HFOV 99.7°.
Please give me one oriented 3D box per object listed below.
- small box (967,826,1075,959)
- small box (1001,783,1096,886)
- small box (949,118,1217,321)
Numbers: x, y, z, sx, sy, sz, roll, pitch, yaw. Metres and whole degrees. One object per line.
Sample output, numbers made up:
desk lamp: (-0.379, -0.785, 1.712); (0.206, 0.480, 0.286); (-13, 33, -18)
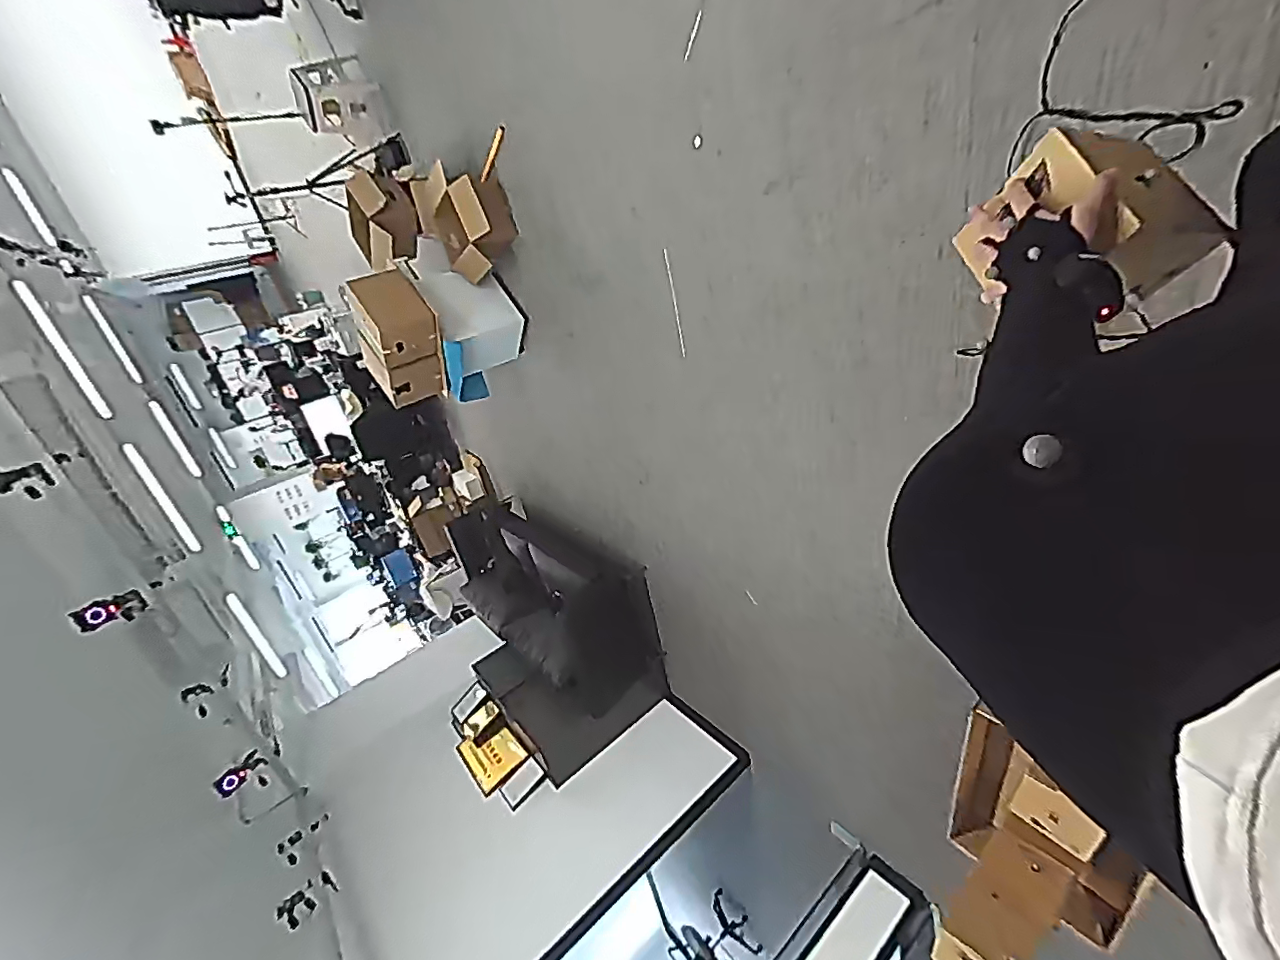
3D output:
small box: (0.950, 1.025, 1.351); (0.168, 0.176, 0.179); (23, 131, 47)
small box: (1.073, 0.962, 1.435); (0.168, 0.176, 0.179); (22, 131, 46)
small box: (0.558, -0.324, 0.699); (0.168, 0.176, 0.179); (117, 142, -58)
